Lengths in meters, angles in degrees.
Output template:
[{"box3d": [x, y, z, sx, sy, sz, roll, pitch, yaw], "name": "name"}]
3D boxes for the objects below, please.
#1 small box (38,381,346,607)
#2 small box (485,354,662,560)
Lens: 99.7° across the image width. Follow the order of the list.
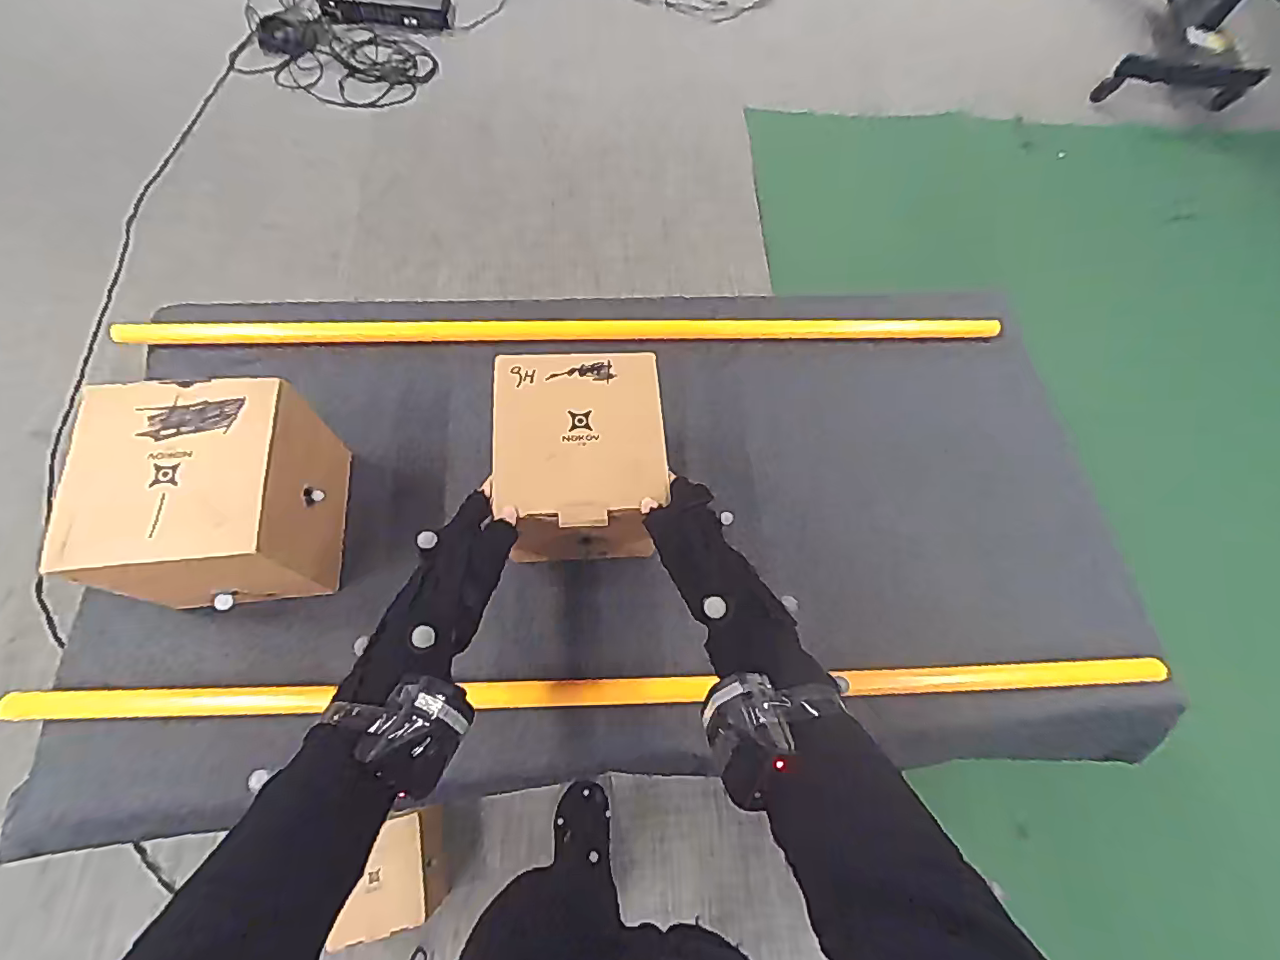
[{"box3d": [-0.419, 0.020, 0.548, 0.168, 0.176, 0.179, -4, 67, -7], "name": "small box"}, {"box3d": [-0.072, -0.015, 0.601, 0.168, 0.176, 0.179, -5, 67, -6], "name": "small box"}]
